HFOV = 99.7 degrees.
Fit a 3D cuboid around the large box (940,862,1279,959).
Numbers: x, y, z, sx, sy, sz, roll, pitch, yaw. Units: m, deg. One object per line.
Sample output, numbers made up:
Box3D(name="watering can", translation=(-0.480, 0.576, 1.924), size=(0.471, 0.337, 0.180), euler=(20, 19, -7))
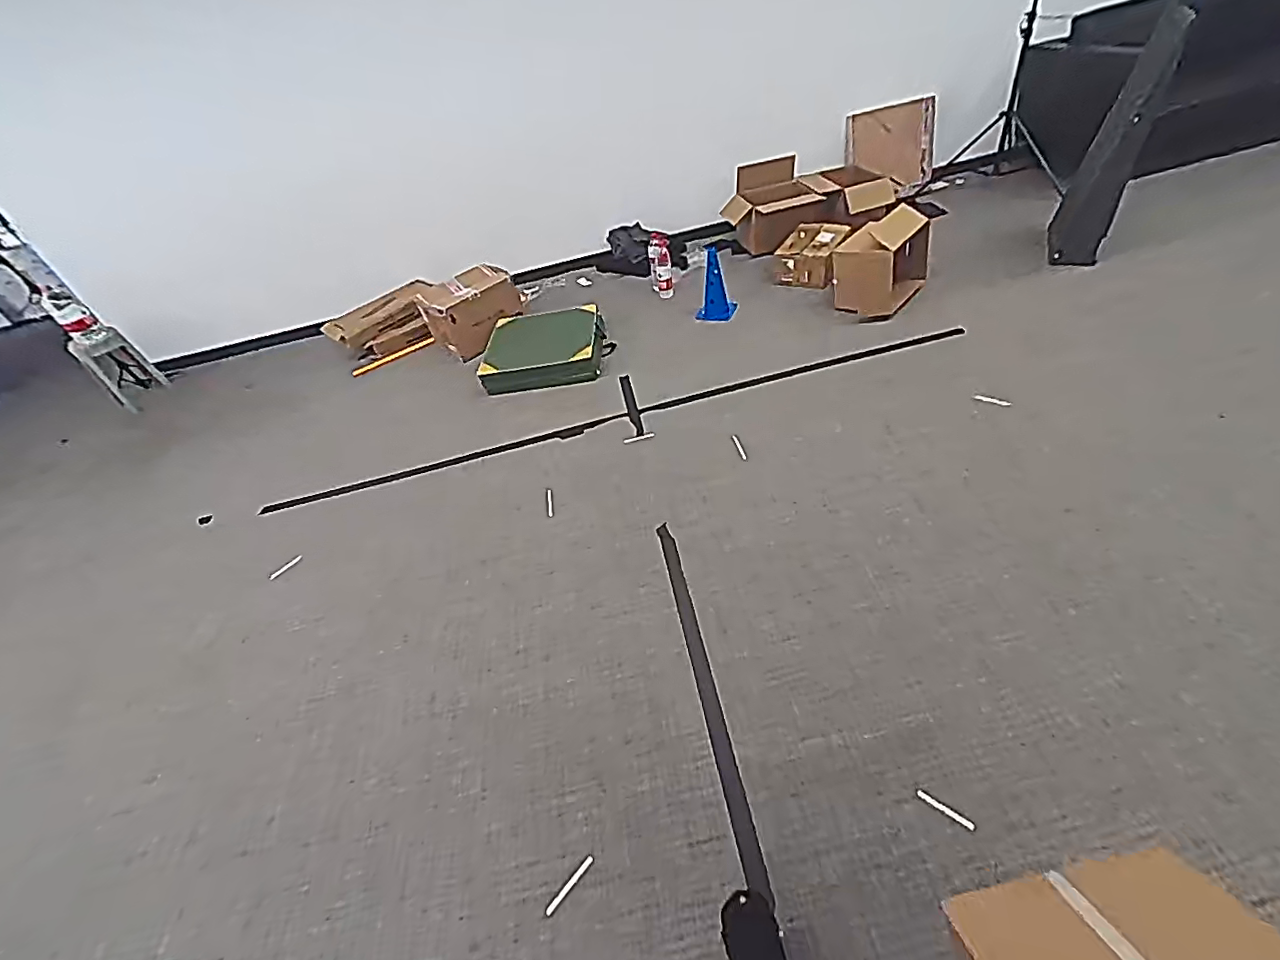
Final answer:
Box3D(name="large box", translation=(0.585, 0.695, 0.534), size=(0.320, 0.320, 0.408), euler=(-17, -1, 3))
